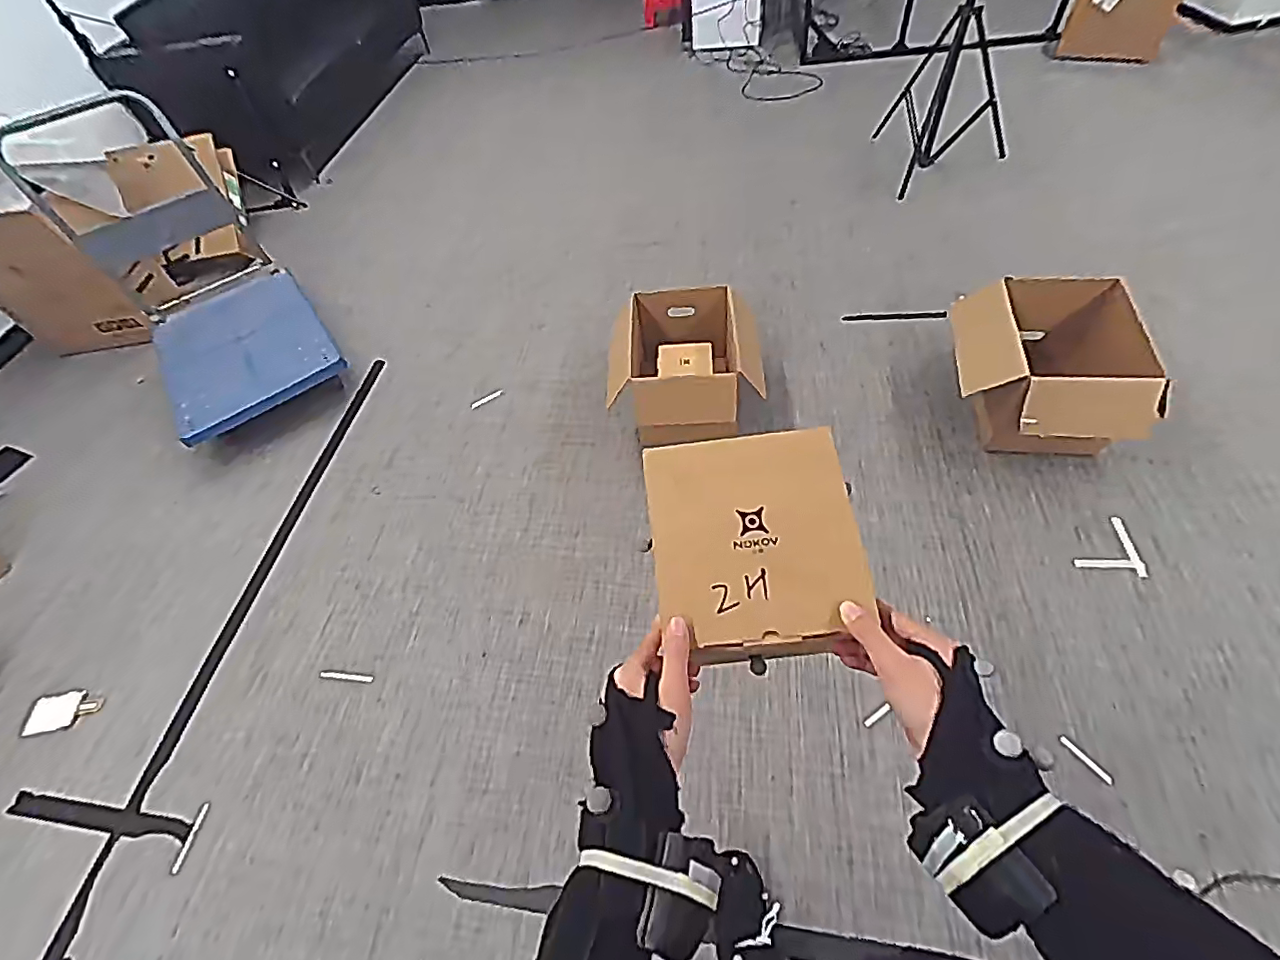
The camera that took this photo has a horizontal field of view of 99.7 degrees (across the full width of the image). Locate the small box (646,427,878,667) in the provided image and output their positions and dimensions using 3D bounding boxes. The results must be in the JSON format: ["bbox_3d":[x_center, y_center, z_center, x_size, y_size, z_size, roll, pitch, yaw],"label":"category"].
[{"bbox_3d":[0.097,0.072,0.512,0.168,0.176,0.179,-7,66,3],"label":"small box"}]
